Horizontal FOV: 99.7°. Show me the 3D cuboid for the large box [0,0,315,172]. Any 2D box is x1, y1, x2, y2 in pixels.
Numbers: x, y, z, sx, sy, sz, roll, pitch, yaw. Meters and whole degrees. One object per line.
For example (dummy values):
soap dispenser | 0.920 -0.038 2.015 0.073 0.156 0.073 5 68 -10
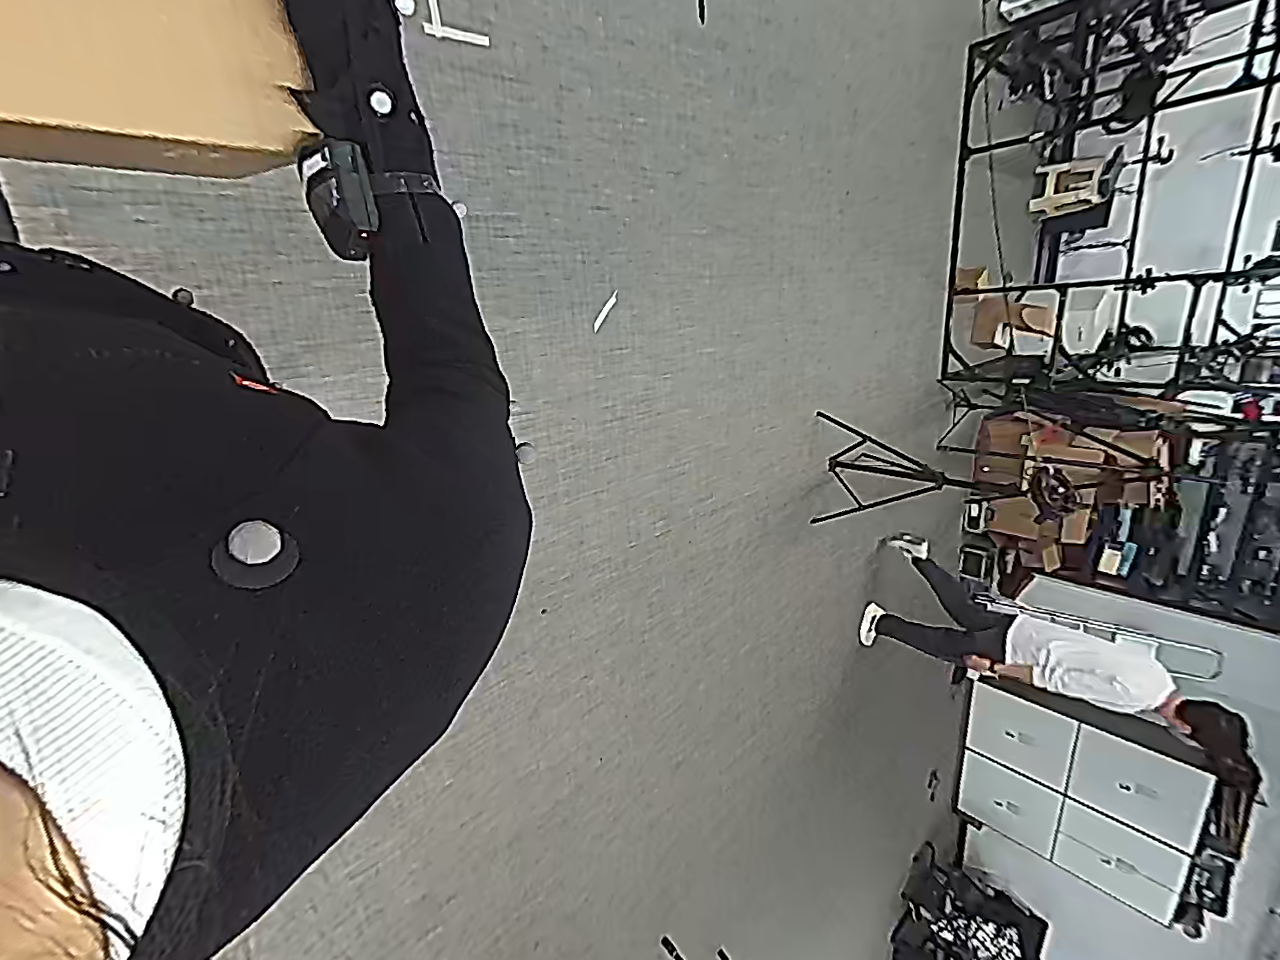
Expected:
large box | -0.476 -0.373 0.303 0.408 0.320 0.320 -19 123 -40
